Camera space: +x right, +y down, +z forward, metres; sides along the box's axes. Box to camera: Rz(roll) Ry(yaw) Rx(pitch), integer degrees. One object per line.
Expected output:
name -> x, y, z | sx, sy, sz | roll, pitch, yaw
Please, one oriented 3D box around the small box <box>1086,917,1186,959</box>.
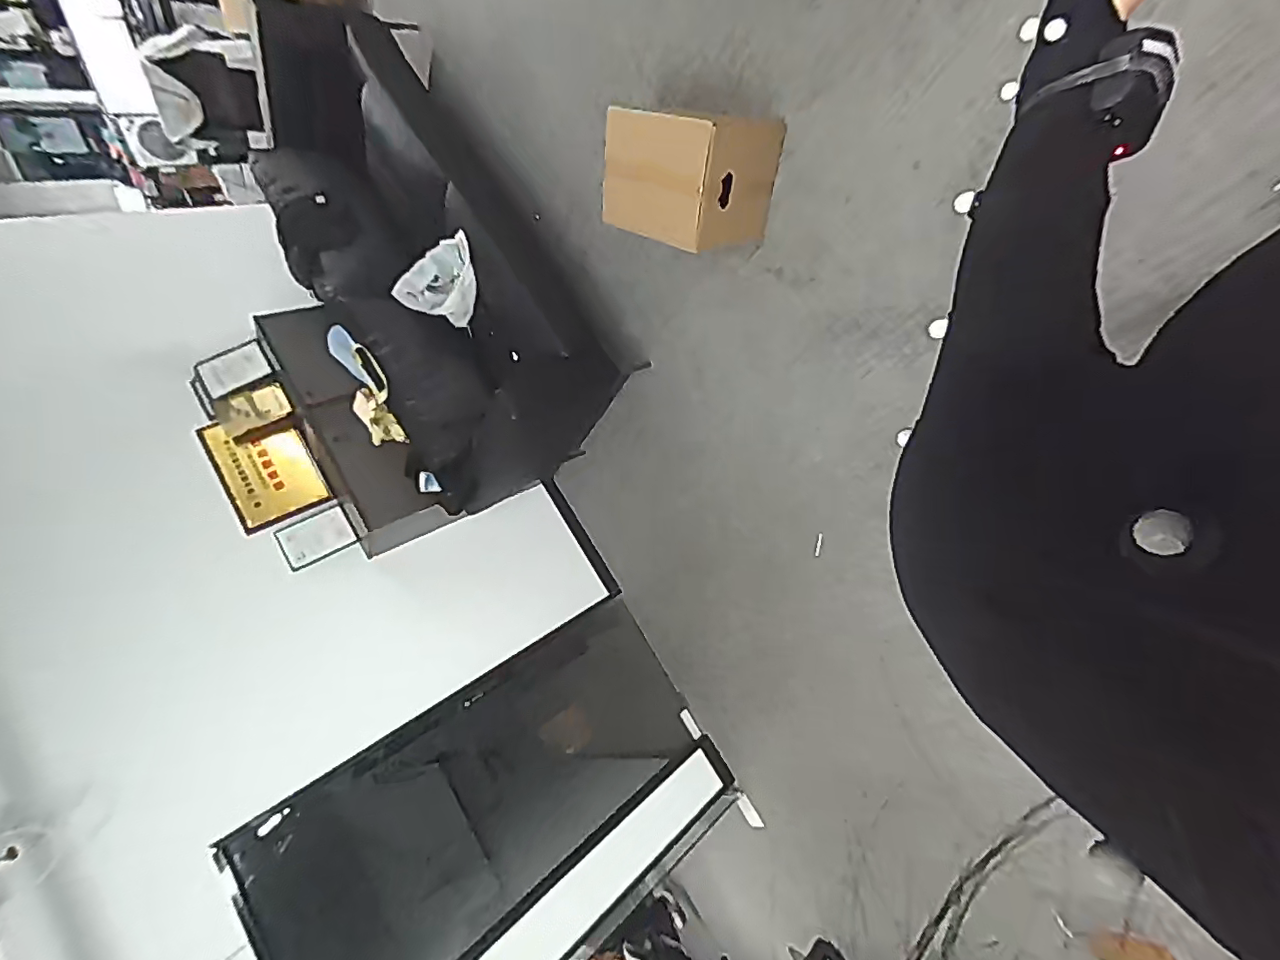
small box -> 1.448, 1.417, 1.557 | 0.168, 0.176, 0.179 | 60, 145, 4
